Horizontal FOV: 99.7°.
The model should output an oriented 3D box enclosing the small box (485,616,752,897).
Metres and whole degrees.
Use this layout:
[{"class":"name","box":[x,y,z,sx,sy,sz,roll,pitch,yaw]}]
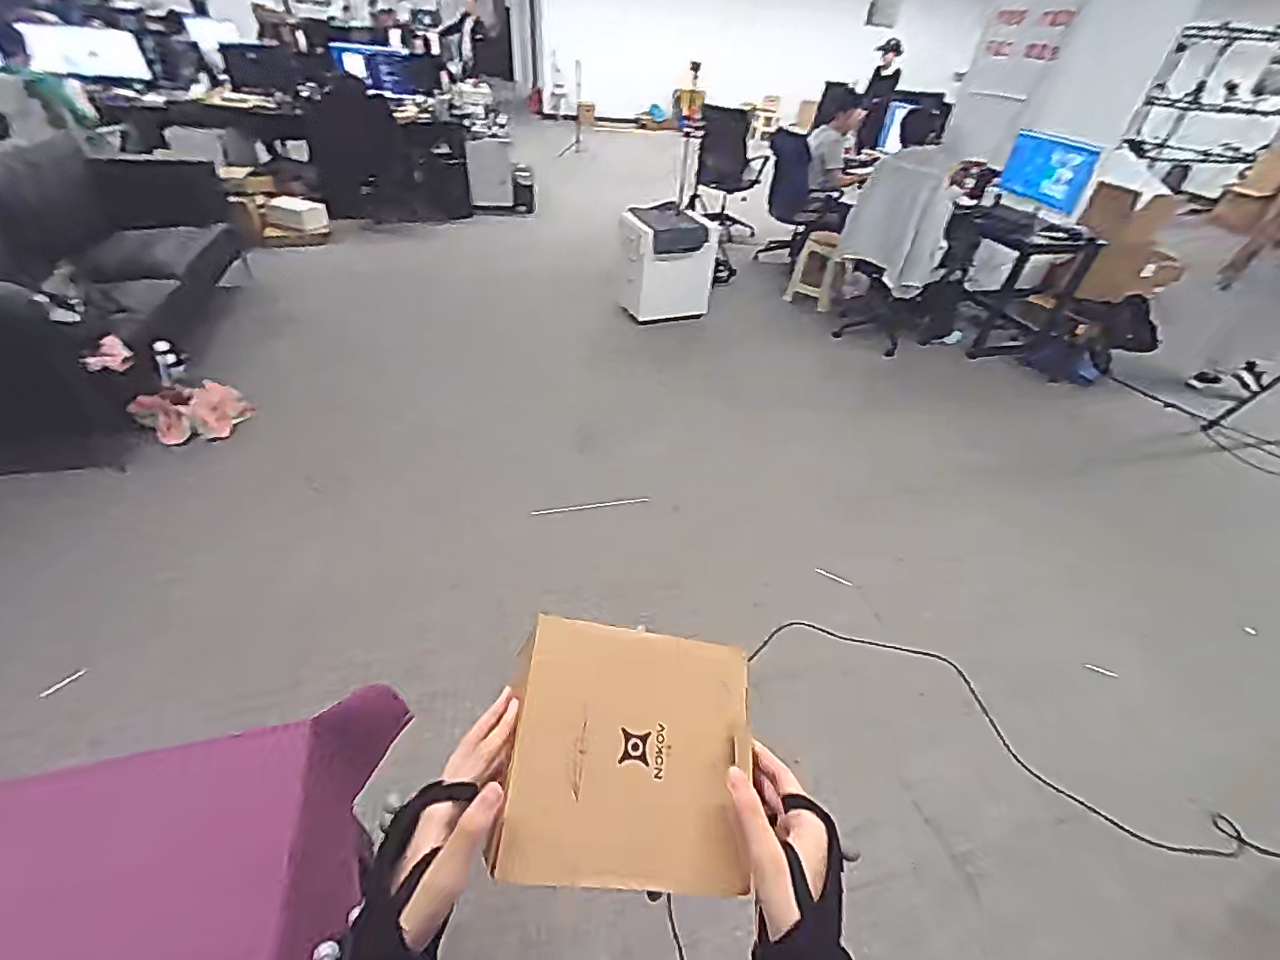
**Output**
[{"class":"small box","box":[-0.023,0.230,0.459,0.179,0.176,0.168,14,59,-12]}]
